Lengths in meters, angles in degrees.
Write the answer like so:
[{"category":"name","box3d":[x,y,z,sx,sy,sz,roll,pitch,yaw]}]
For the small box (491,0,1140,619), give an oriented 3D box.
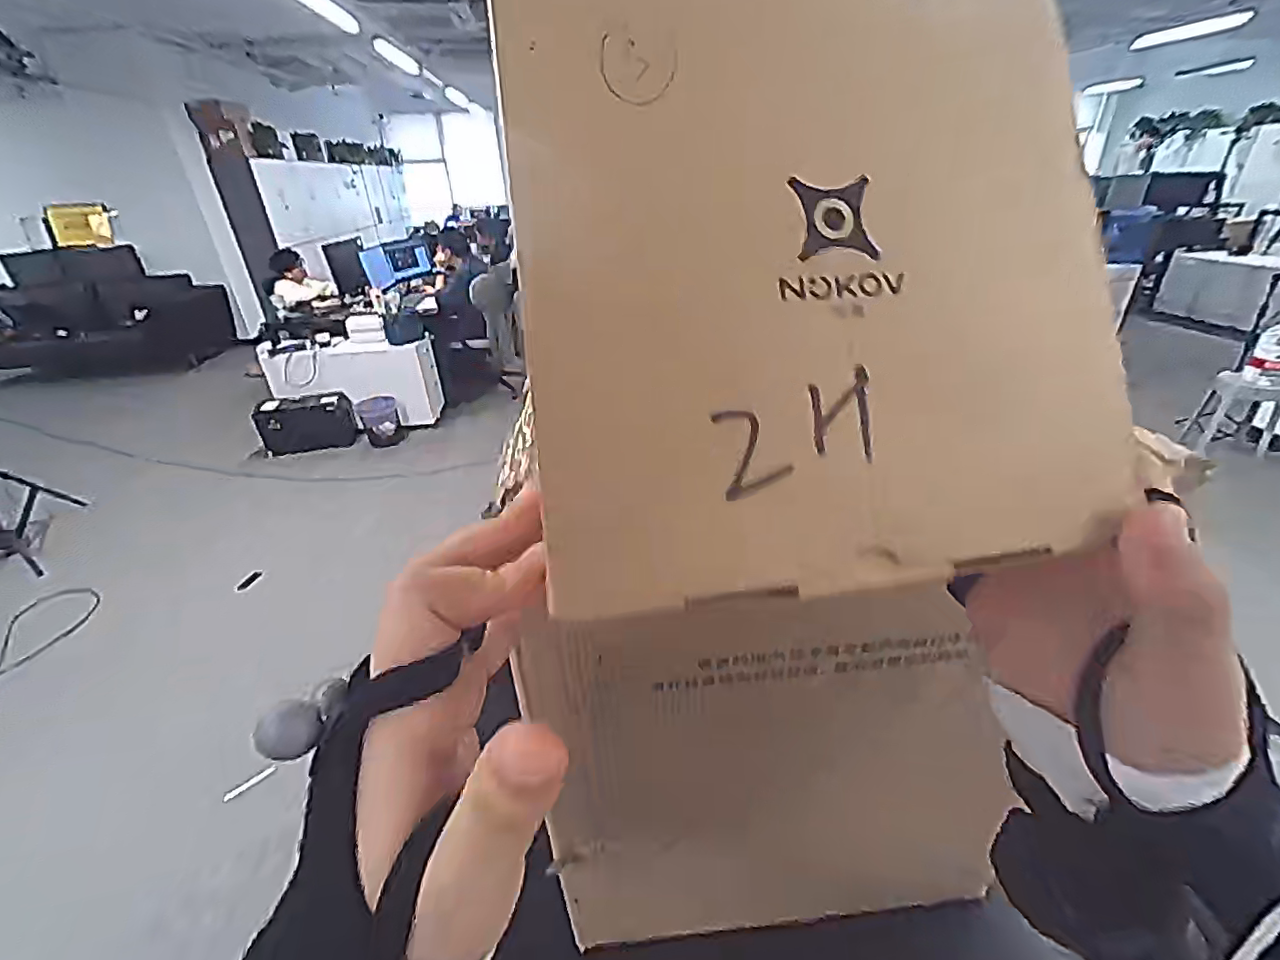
[{"category":"small box","box3d":[0.036,-0.054,0.220,0.168,0.179,0.176,-6,-3,-9]}]
